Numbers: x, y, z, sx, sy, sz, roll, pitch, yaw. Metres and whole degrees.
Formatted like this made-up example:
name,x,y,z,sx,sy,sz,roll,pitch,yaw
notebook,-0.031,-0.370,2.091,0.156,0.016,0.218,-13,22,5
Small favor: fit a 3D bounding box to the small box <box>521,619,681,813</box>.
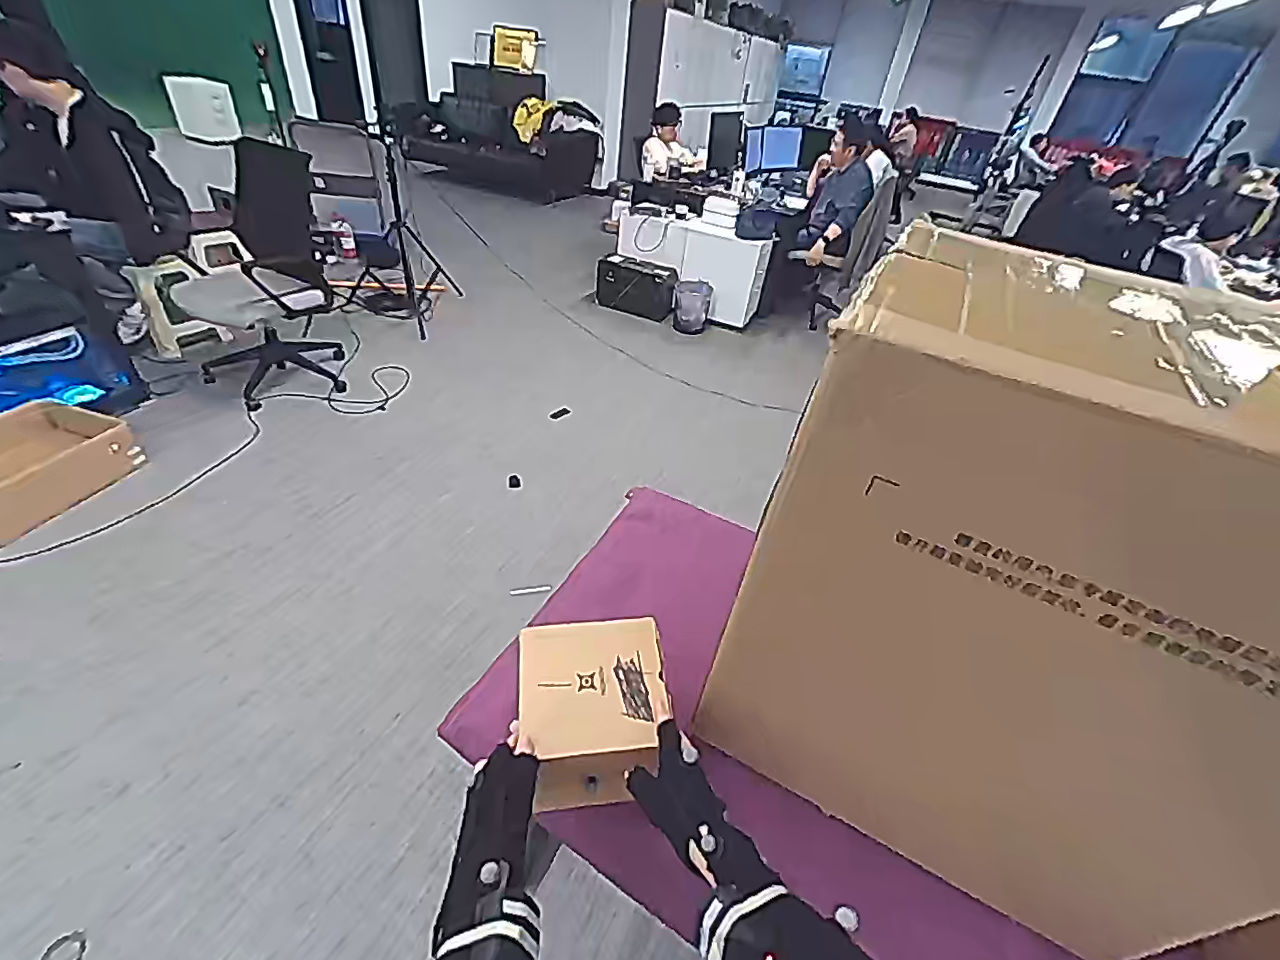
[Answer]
name,x,y,z,sx,sy,sz,roll,pitch,yaw
small box,-0.057,0.300,0.692,0.179,0.176,0.168,-3,41,-9
